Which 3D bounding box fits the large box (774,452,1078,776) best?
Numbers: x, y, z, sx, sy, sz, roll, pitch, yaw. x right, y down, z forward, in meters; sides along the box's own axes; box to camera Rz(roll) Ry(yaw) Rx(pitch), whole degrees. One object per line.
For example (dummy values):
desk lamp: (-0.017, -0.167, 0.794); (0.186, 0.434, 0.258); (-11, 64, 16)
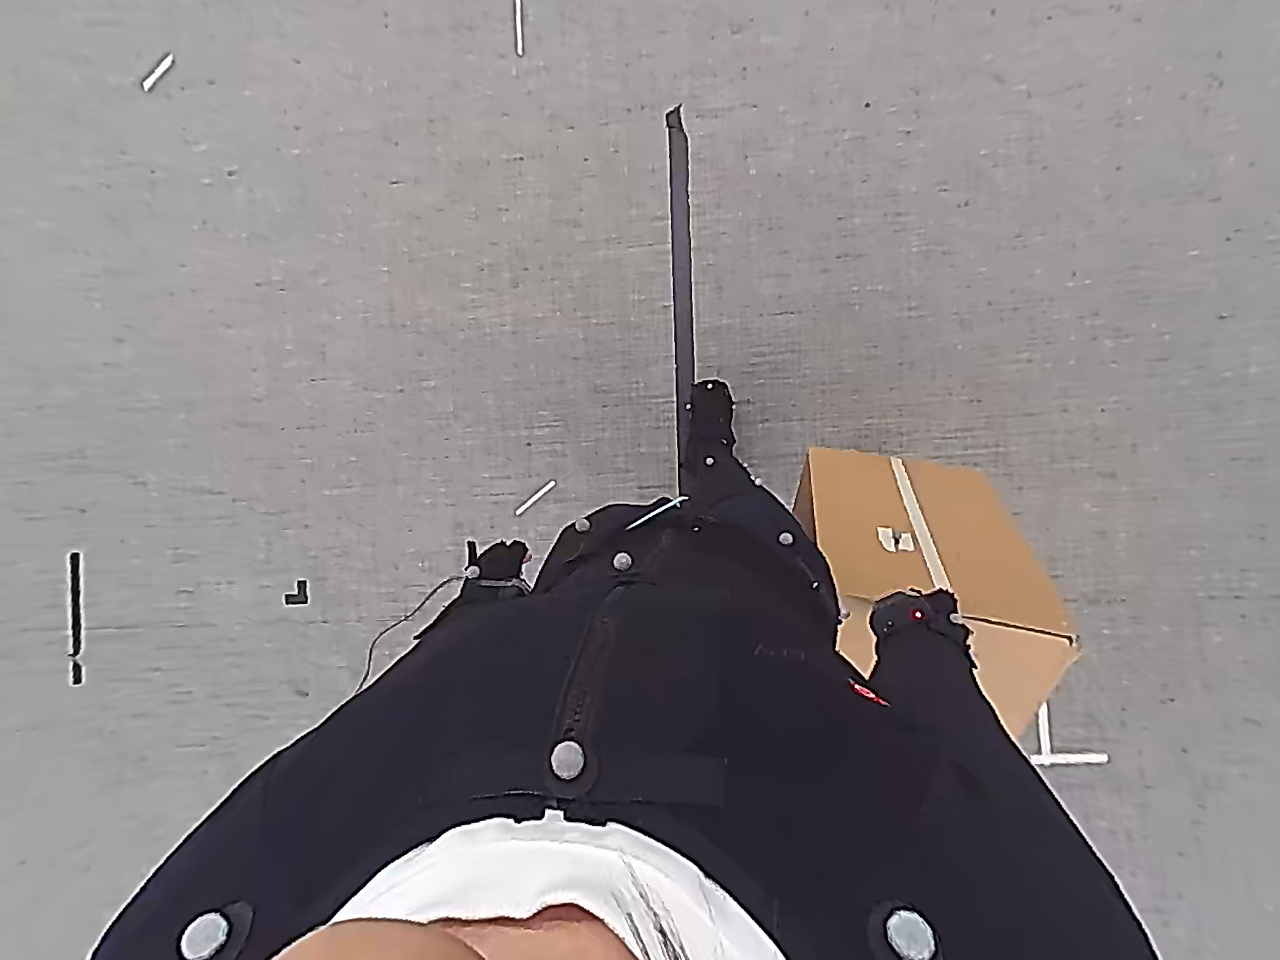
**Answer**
large box: (0.415, 0.199, 0.921); (0.320, 0.408, 0.320); (9, 123, 9)
